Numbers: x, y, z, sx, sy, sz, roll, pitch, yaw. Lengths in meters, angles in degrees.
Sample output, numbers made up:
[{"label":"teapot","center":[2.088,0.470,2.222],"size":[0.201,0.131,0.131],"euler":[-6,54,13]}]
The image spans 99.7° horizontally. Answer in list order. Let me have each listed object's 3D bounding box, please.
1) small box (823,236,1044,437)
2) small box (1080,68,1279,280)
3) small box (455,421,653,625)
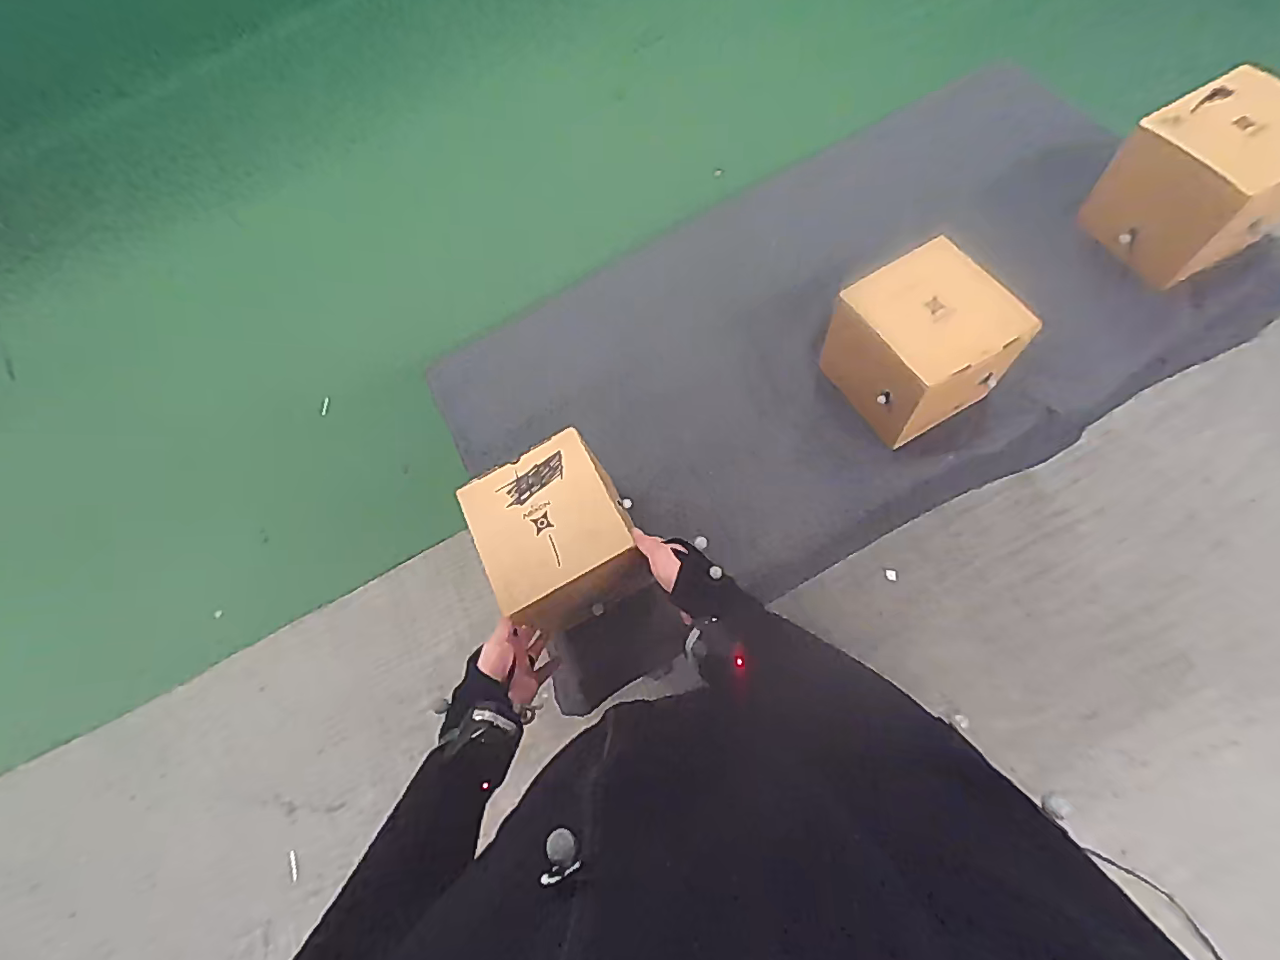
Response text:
[{"label":"small box","center":[0.375,-0.181,0.732],"size":[0.168,0.176,0.179],"euler":[-29,65,-5]},{"label":"small box","center":[0.788,-0.411,0.756],"size":[0.168,0.176,0.179],"euler":[-27,66,0]},{"label":"small box","center":[-0.100,0.063,0.680],"size":[0.168,0.176,0.179],"euler":[-27,66,0]}]
